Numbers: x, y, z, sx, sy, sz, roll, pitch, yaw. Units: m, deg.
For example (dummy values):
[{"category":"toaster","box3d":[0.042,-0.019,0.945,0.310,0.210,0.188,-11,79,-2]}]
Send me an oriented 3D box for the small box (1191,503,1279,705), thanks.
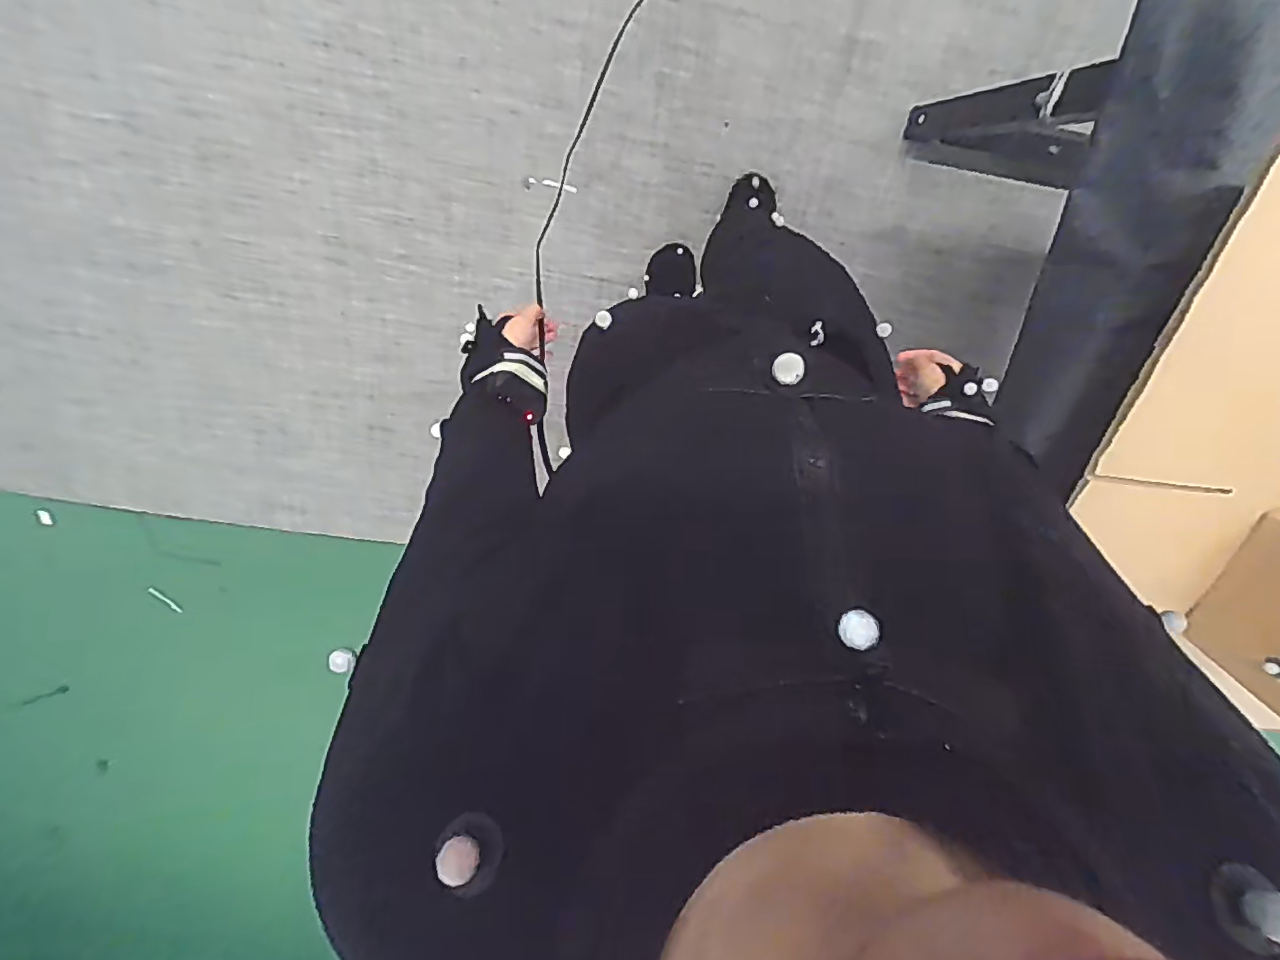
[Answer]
[{"category":"small box","box3d":[0.718,0.137,0.529,0.168,0.176,0.179,-2,121,-4]}]
